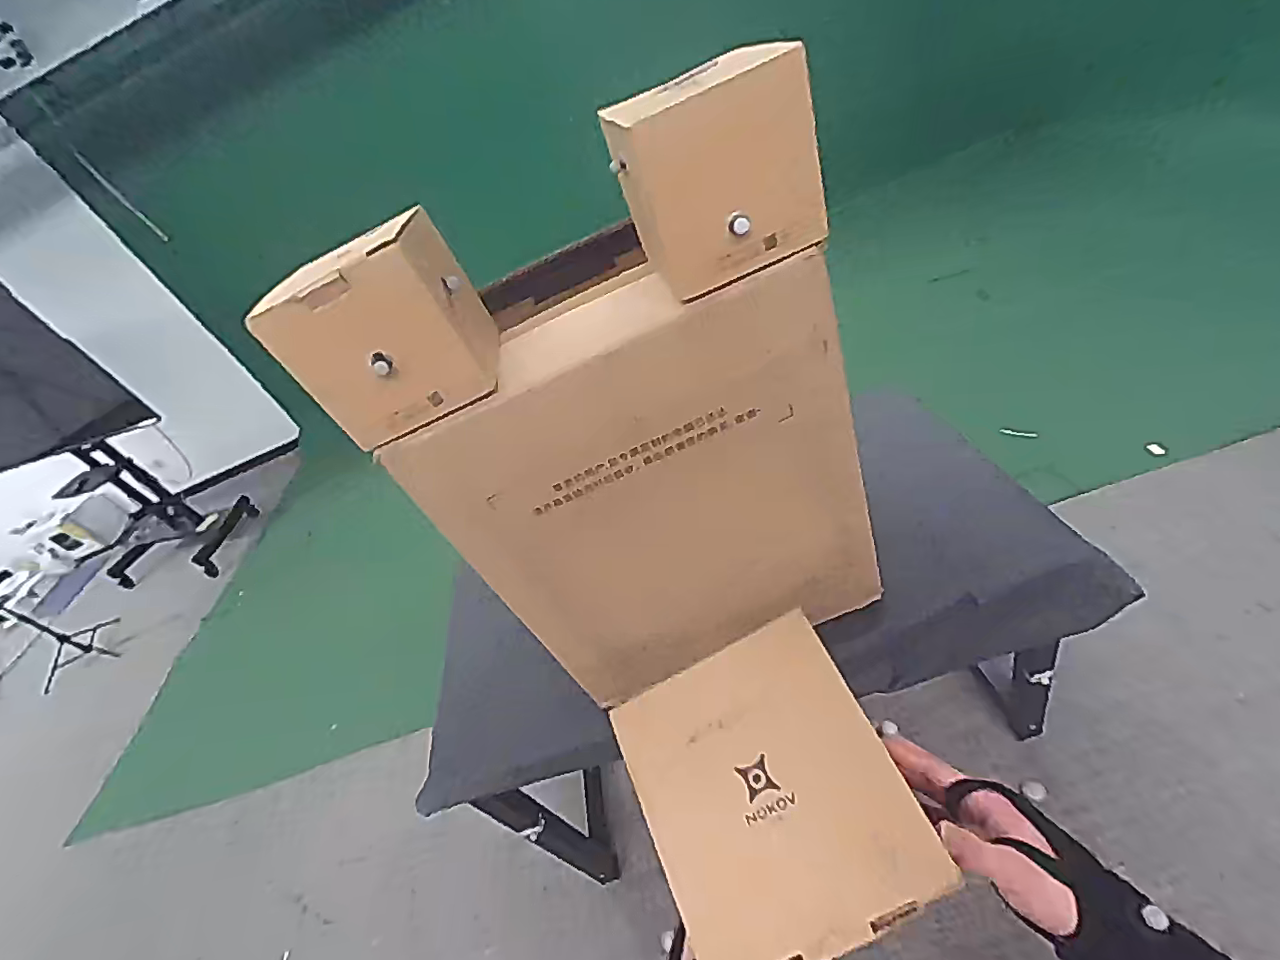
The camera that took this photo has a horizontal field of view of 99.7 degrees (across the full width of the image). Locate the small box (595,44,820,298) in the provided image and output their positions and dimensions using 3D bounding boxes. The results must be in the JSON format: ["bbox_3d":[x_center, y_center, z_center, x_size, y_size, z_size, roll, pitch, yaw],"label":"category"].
[{"bbox_3d":[0.068,-0.317,0.565,0.168,0.176,0.179,-23,39,5],"label":"small box"}]

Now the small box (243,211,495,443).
[{"bbox_3d":[-0.277,-0.163,0.603,0.168,0.176,0.179,-24,38,6],"label":"small box"}]

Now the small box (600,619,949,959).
[{"bbox_3d":[0.099,0.234,0.416,0.168,0.176,0.179,-31,58,6],"label":"small box"}]
